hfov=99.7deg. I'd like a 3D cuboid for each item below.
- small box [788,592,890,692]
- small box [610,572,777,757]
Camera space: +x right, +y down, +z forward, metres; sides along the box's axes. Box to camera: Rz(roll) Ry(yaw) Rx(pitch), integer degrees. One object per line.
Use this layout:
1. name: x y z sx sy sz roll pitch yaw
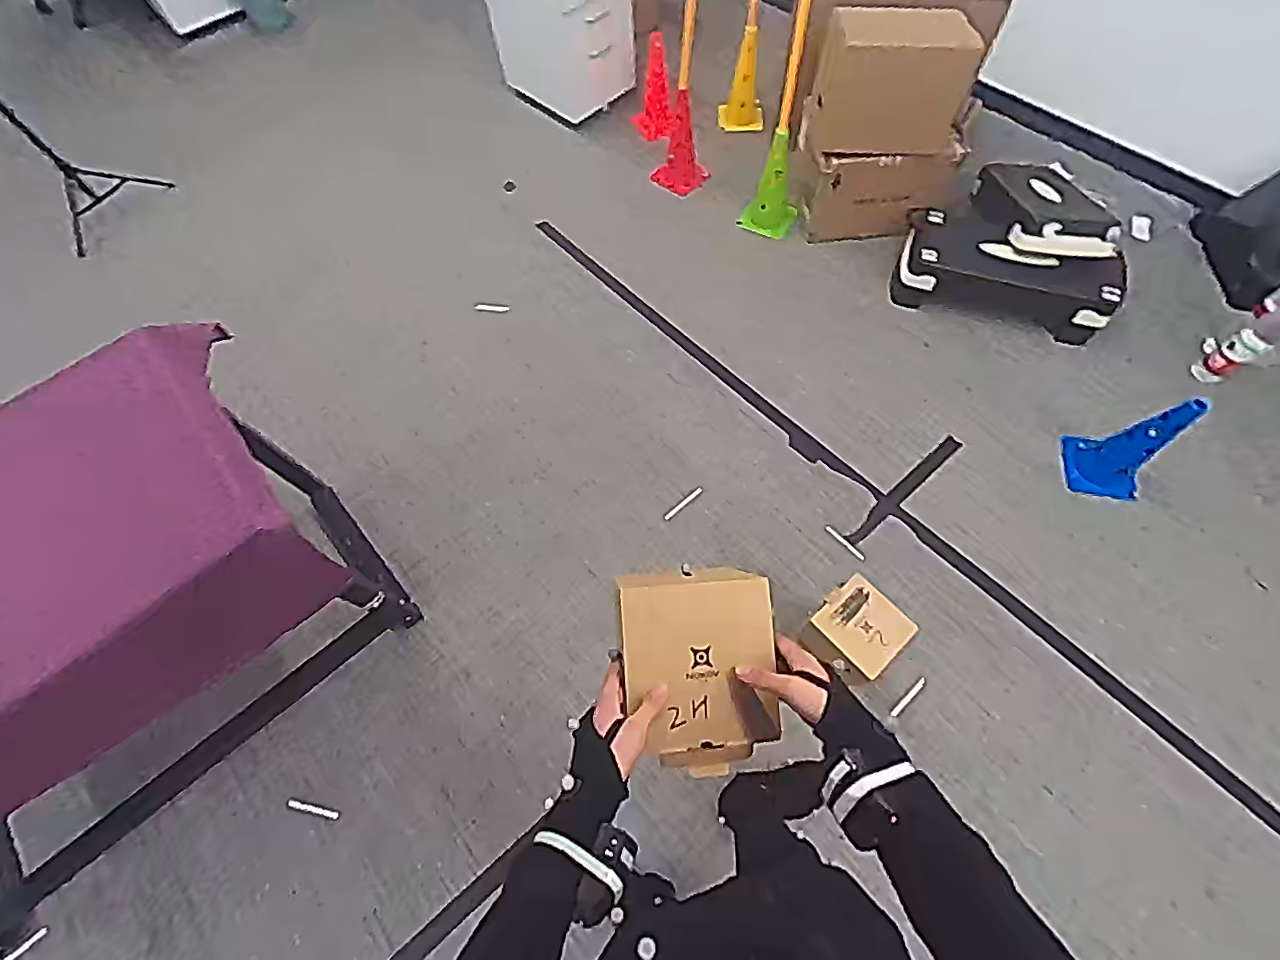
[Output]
1. small box: 0.504 0.425 1.403 0.179 0.176 0.168 -42 69 -16
2. small box: 0.053 0.204 0.650 0.168 0.176 0.179 -3 85 -5
